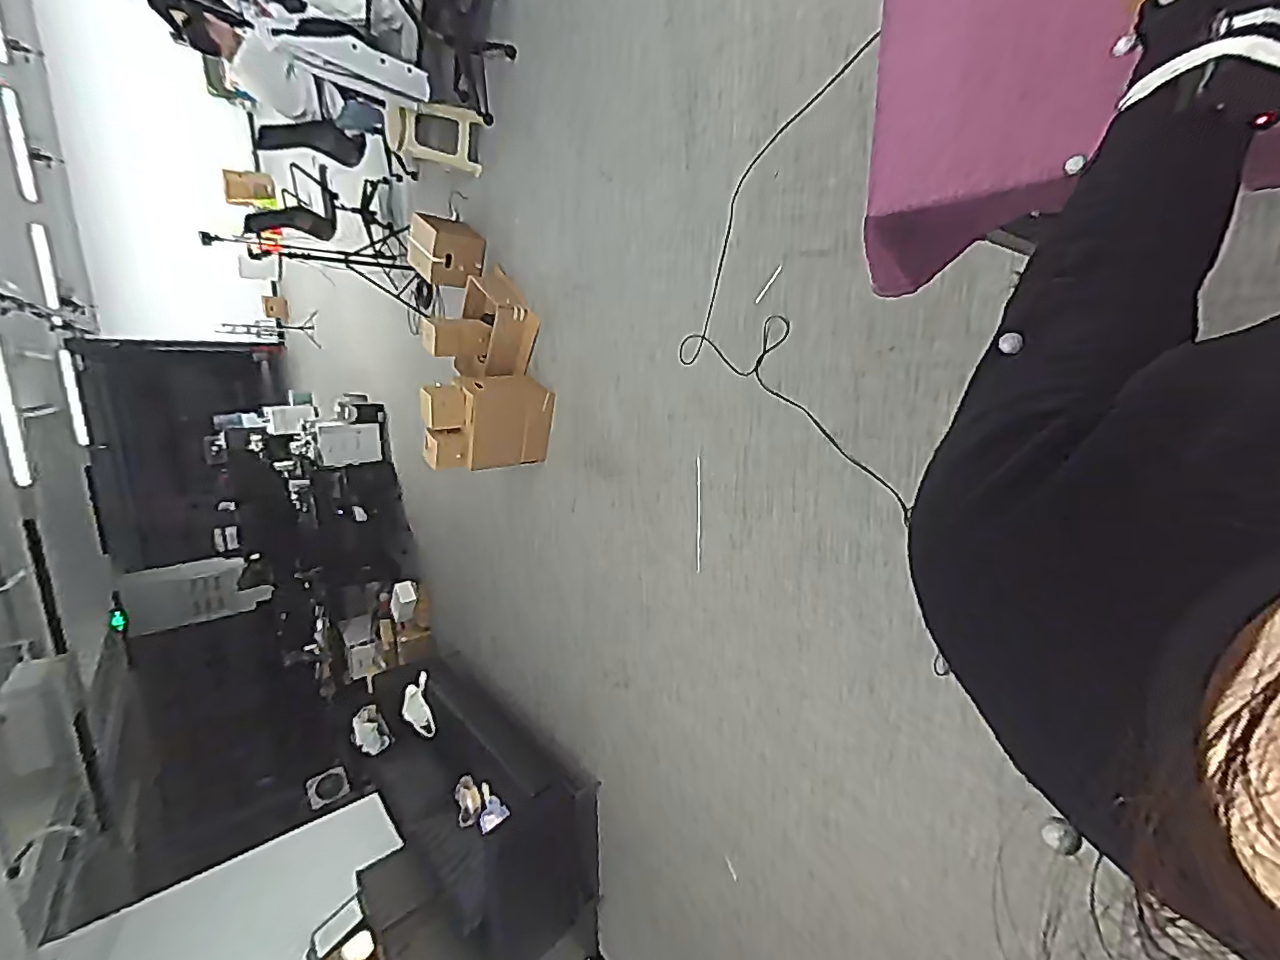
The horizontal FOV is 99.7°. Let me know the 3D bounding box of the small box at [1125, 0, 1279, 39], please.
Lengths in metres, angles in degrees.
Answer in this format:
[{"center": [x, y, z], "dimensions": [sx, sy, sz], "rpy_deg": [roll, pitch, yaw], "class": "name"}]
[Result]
[{"center": [0.522, -0.524, 0.449], "dimensions": [0.168, 0.176, 0.179], "rpy_deg": [16, 110, 48], "class": "small box"}]
